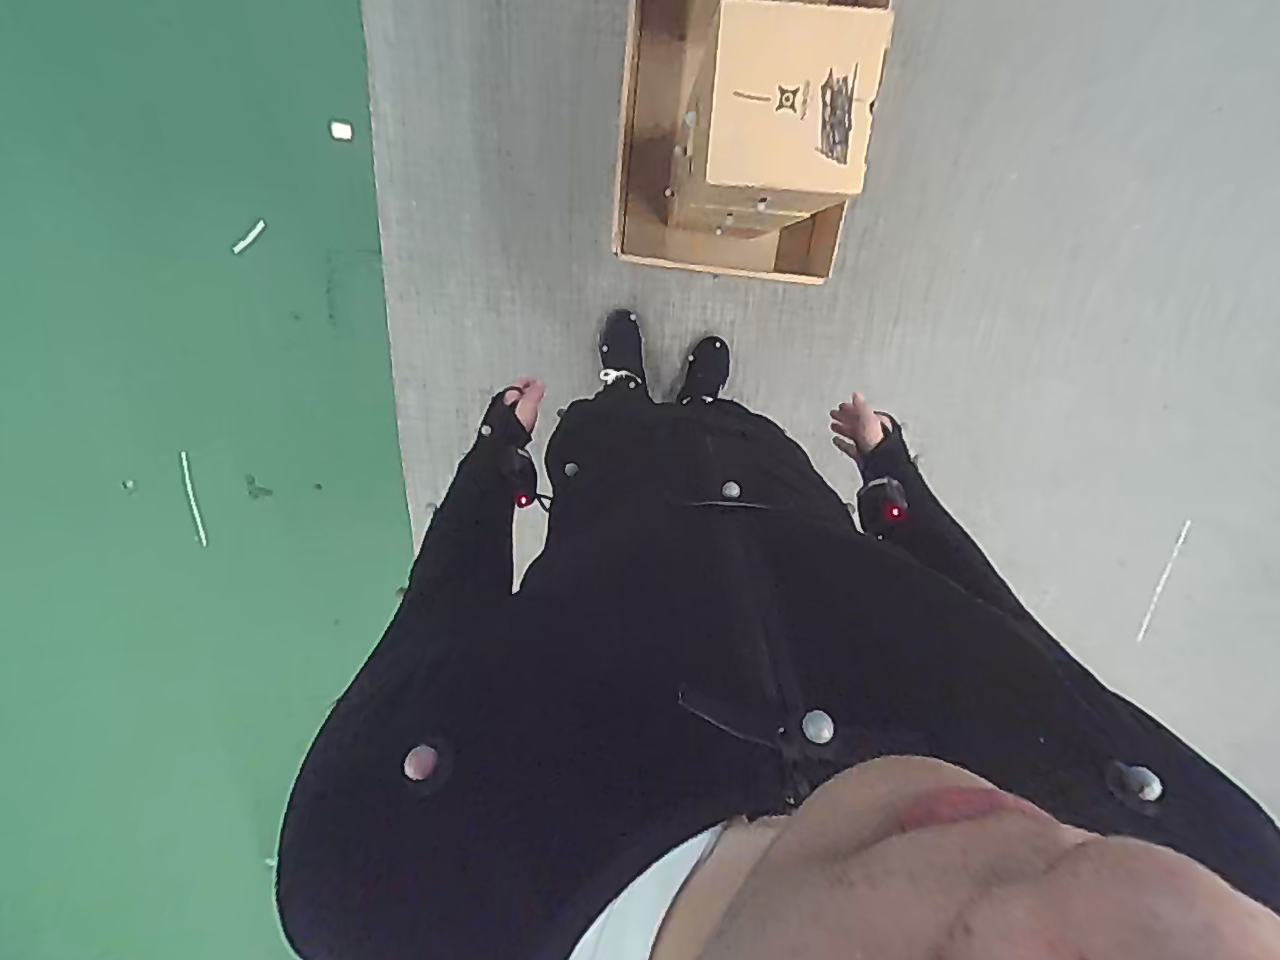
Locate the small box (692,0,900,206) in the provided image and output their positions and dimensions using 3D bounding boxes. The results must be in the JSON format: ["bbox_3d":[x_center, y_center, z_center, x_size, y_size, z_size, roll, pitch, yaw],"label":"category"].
[{"bbox_3d":[0.163,-0.424,0.630,0.179,0.176,0.168,3,111,-2],"label":"small box"}]

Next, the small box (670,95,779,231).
[{"bbox_3d":[0.152,-0.536,0.939,0.179,0.176,0.168,6,110,-5],"label":"small box"}]

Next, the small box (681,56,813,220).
[{"bbox_3d":[0.157,-0.480,0.785,0.179,0.176,0.168,4,111,-2],"label":"small box"}]
